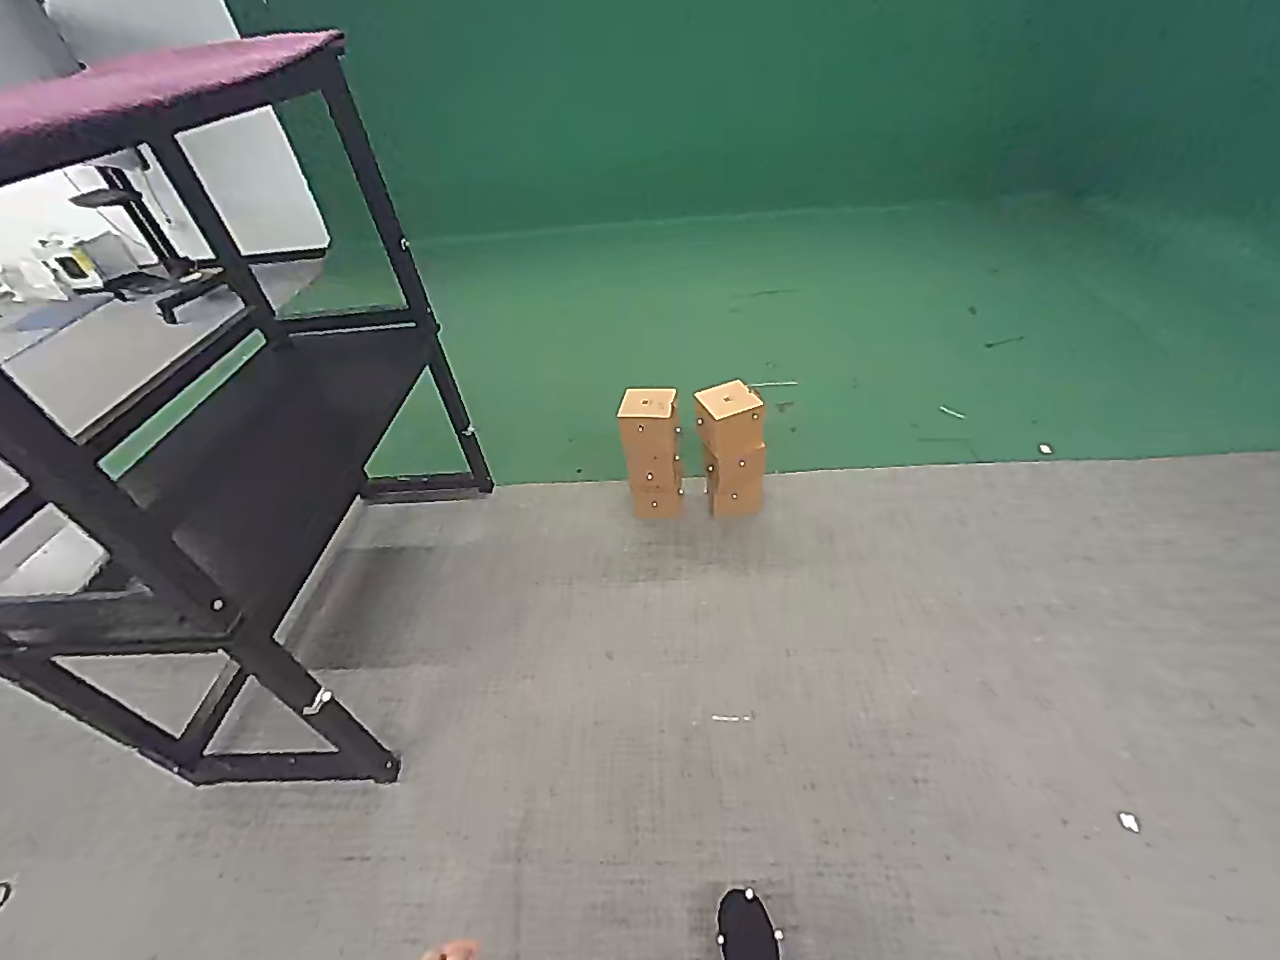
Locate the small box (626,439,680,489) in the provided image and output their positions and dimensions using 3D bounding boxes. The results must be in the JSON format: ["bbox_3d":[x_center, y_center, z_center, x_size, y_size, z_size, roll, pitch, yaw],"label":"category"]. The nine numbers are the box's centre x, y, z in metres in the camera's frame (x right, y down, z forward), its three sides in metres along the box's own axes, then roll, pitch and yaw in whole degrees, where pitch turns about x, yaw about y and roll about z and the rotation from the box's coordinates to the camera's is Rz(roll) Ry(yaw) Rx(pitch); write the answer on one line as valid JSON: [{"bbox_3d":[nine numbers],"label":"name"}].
[{"bbox_3d":[0.054,-0.083,1.944,0.168,0.176,0.179,1,43,10],"label":"small box"}]

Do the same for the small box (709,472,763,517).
[{"bbox_3d":[0.355,0.022,2.028,0.179,0.176,0.168,-7,43,-1],"label":"small box"}]

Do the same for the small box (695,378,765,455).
[{"bbox_3d":[0.299,-0.209,1.805,0.179,0.176,0.168,-19,45,-13],"label":"small box"}]

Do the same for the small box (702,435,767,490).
[{"bbox_3d":[0.331,-0.088,1.911,0.179,0.176,0.168,-16,45,-10],"label":"small box"}]

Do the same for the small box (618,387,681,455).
[{"bbox_3d":[0.037,-0.197,1.824,0.179,0.176,0.168,3,44,13],"label":"small box"}]
